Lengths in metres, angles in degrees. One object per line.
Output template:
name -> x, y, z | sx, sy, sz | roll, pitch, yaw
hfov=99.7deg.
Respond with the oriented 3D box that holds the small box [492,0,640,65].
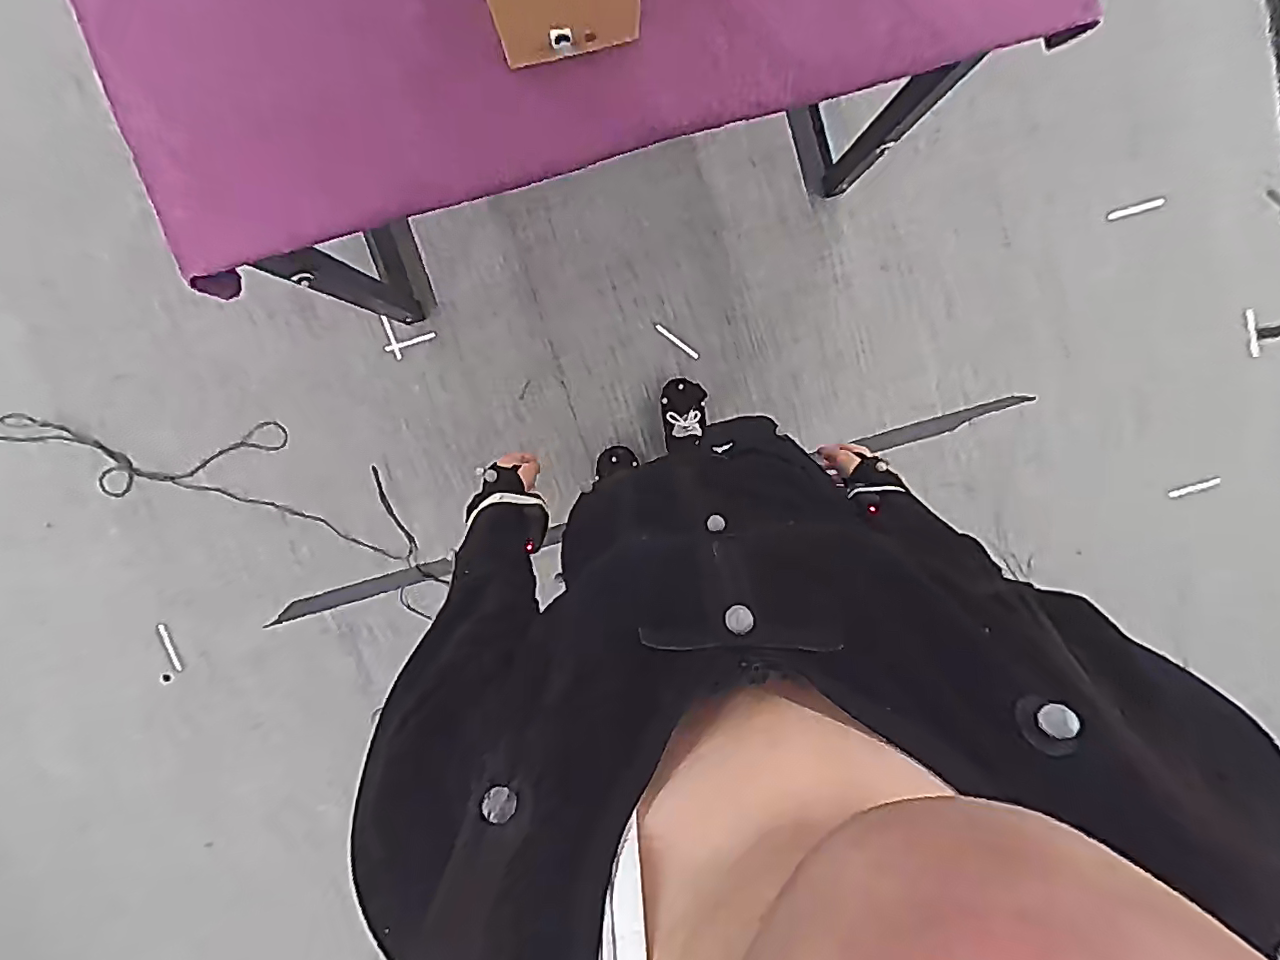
small box -> -0.096, -0.603, 0.580 | 0.168, 0.176, 0.179 | -14, 98, 1
